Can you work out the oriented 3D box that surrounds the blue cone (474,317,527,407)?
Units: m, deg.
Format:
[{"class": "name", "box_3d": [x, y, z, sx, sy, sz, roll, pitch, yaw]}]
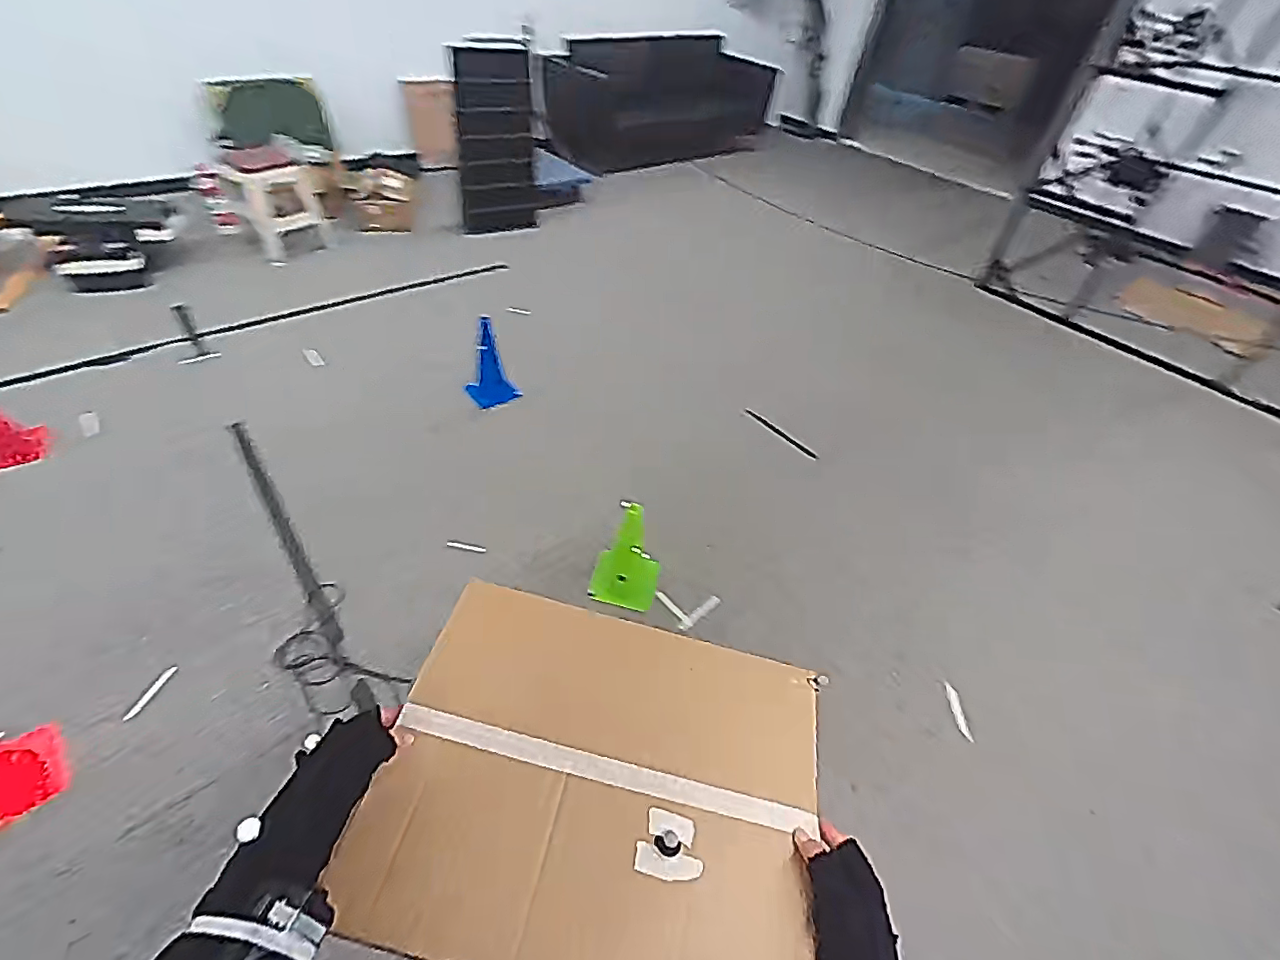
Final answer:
[{"class": "blue cone", "box_3d": [-0.609, -0.513, 2.301, 0.192, 0.380, 0.193, -24, 53, -29]}]

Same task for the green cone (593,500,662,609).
[{"class": "green cone", "box_3d": [-0.017, 0.202, 1.652, 0.200, 0.368, 0.202, 14, 44, 5]}]

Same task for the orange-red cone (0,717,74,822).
[{"class": "orange-red cone", "box_3d": [-1.413, 0.557, 1.113, 0.198, 0.360, 0.199, -30, 58, -31]}]

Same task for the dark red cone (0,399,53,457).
[{"class": "dark red cone", "box_3d": [-2.175, -0.259, 1.780, 0.201, 0.394, 0.202, -21, 52, -27]}]
